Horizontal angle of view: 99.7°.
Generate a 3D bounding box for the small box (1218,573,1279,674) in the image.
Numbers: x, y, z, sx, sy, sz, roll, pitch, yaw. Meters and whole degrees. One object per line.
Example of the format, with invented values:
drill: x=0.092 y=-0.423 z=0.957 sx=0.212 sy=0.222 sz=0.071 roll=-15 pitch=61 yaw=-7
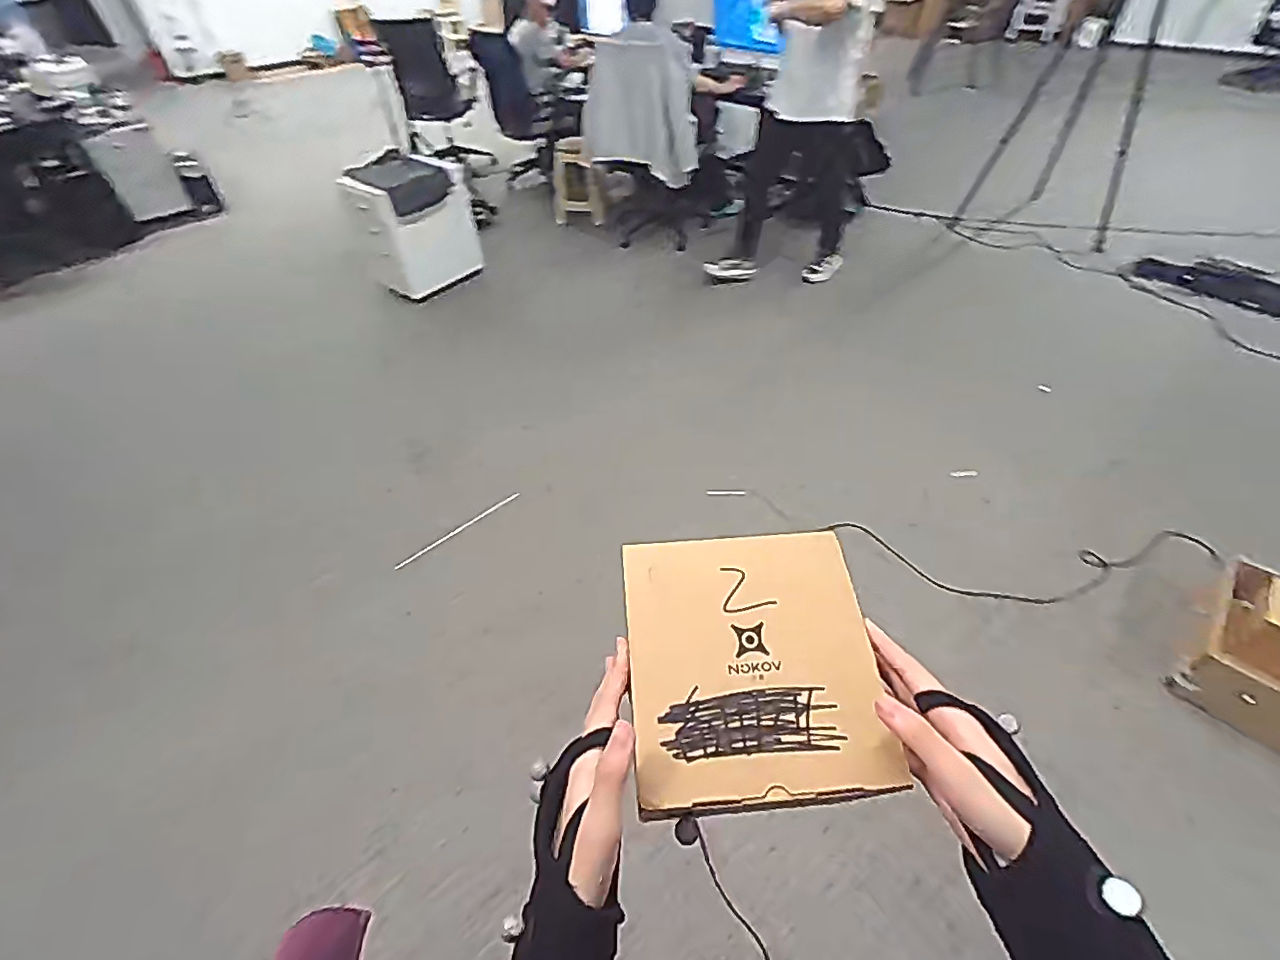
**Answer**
small box: x=1.670 y=0.382 z=1.399 sx=0.179 sy=0.176 sz=0.168 roll=33 pitch=59 yaw=28
